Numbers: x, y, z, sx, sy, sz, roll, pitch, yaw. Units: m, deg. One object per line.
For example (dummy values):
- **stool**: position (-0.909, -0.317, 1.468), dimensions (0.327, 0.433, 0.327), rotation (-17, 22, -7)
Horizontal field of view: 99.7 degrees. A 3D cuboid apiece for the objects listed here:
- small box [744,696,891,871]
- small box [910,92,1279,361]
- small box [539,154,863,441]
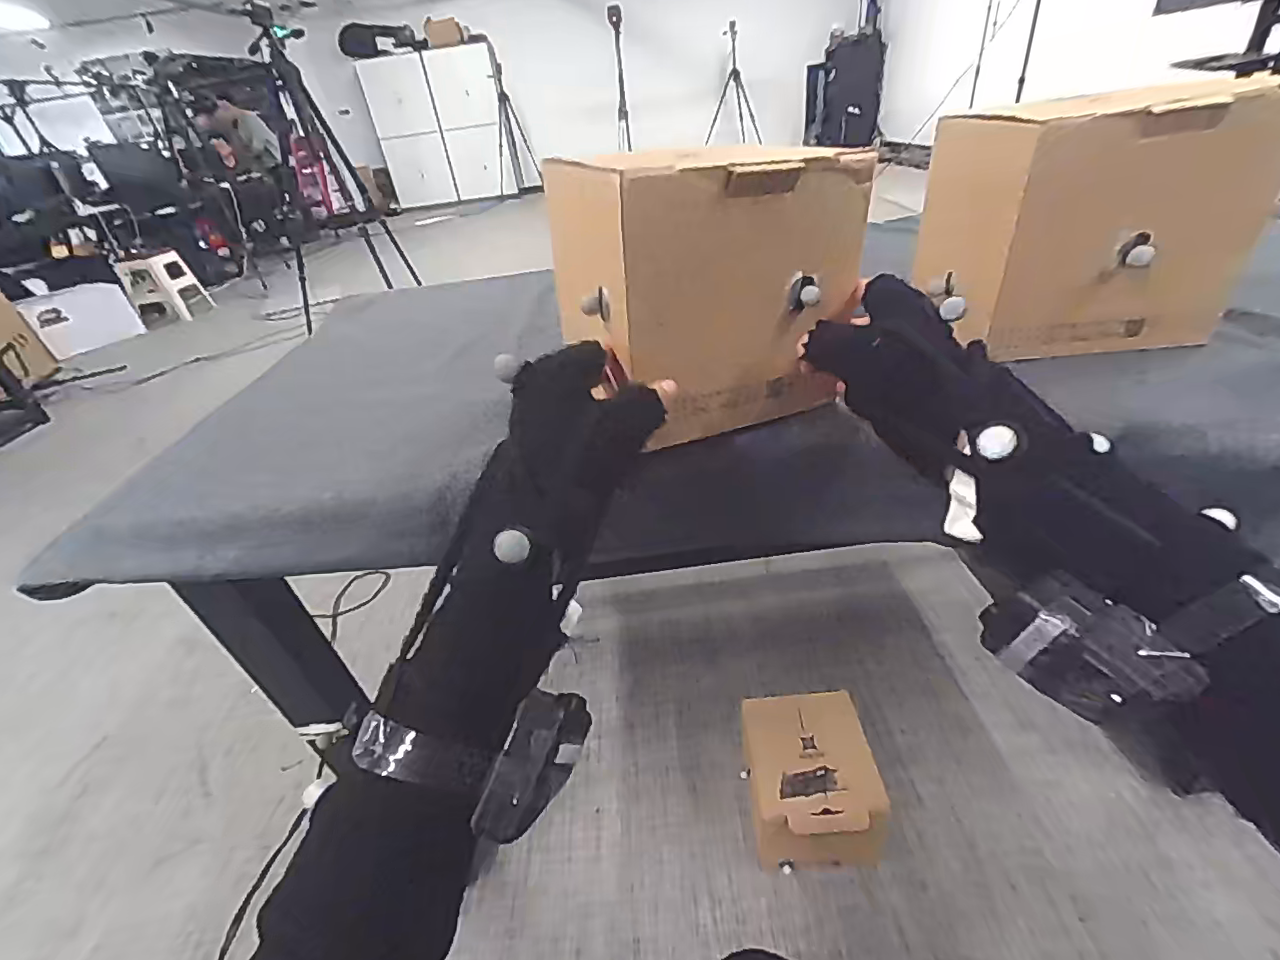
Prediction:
- **small box**: position (0.253, 0.454, 0.806), dimensions (0.168, 0.176, 0.179), rotation (-6, 32, 4)
- **small box**: position (0.347, -0.206, 0.451), dimensions (0.168, 0.176, 0.179), rotation (-4, 34, 7)
- **small box**: position (0.032, -0.140, 0.407), dimensions (0.168, 0.176, 0.179), rotation (-14, 34, -17)
